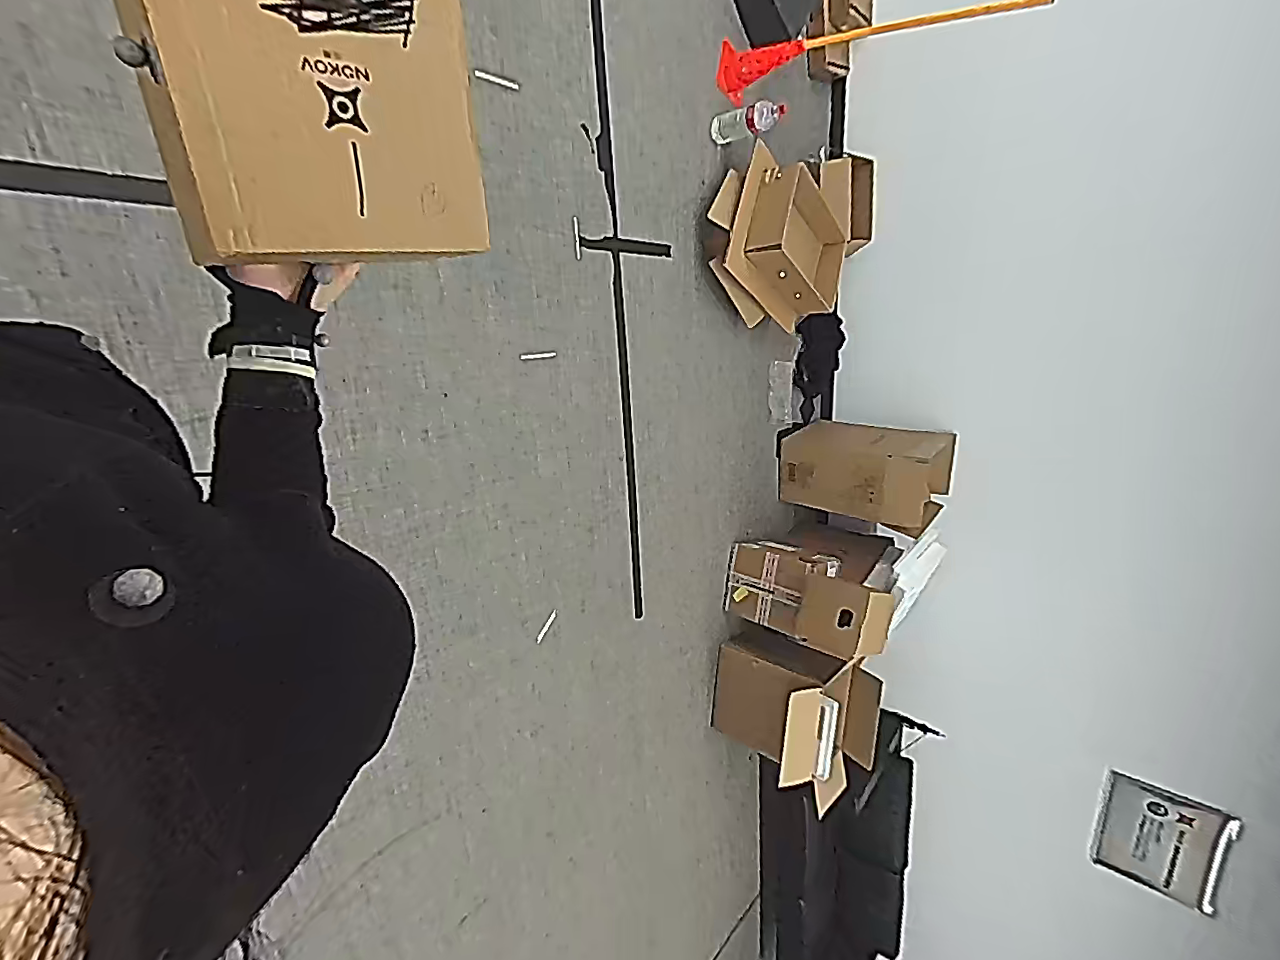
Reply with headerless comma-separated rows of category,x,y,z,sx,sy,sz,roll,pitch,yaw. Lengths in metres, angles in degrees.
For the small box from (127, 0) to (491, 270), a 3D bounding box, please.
small box,-0.228,-0.245,0.381,0.168,0.176,0.179,-19,117,-38
